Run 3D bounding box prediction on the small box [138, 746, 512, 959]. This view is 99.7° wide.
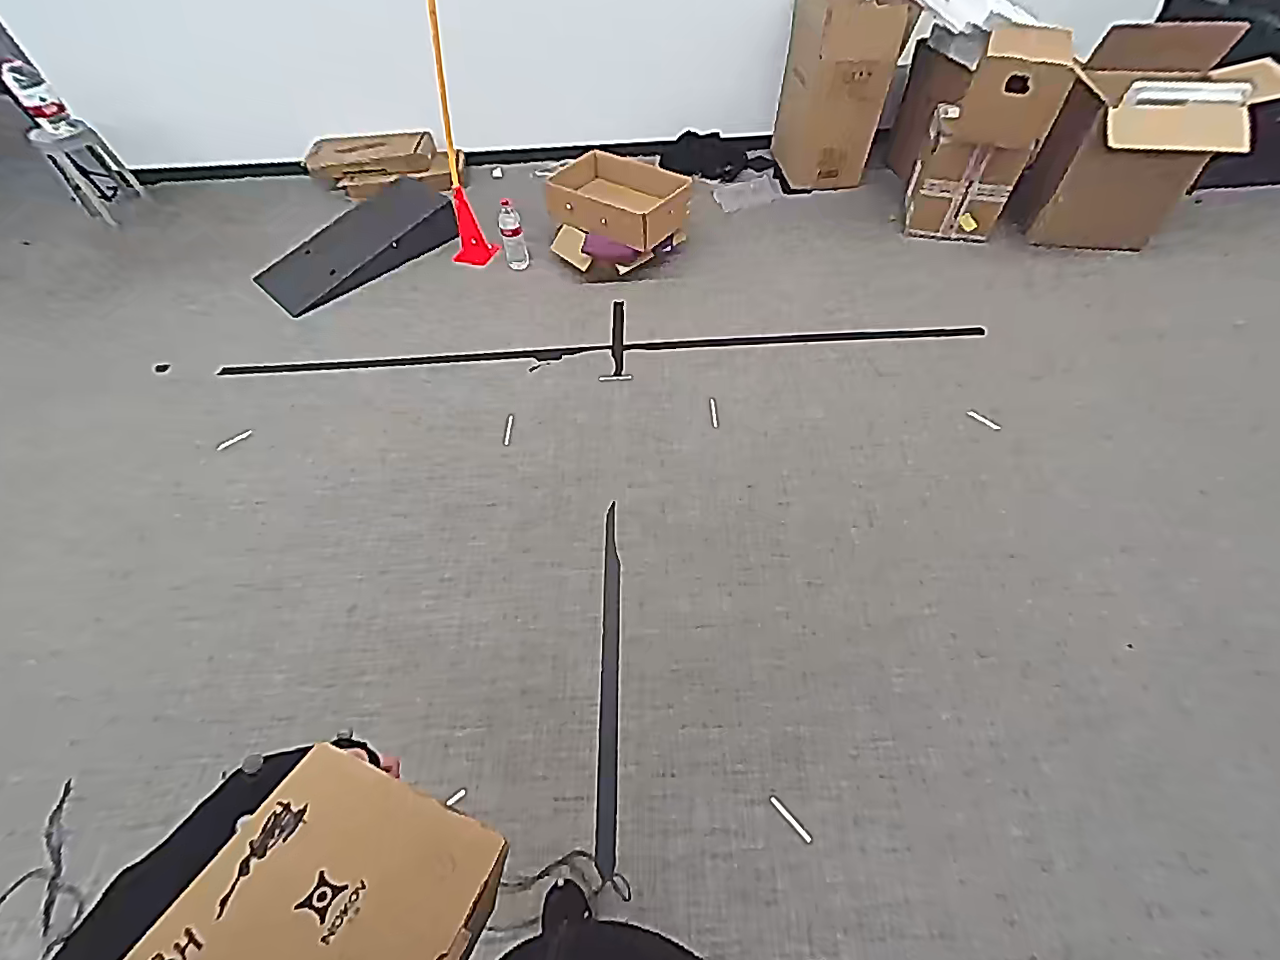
[{"bbox_3d":[-0.223,0.352,0.415,0.179,0.176,0.168,23,36,7],"label":"small box"}]
